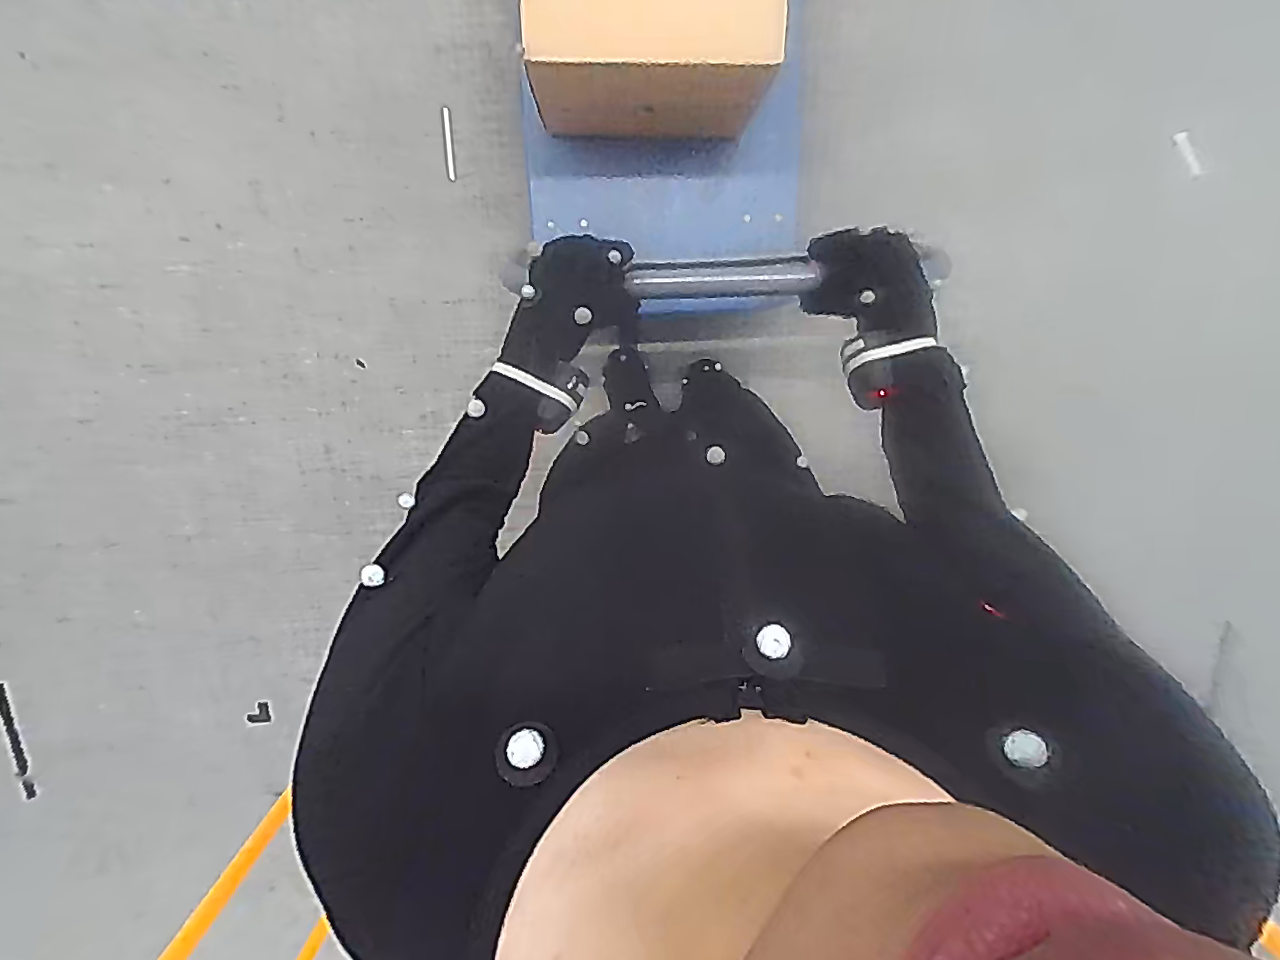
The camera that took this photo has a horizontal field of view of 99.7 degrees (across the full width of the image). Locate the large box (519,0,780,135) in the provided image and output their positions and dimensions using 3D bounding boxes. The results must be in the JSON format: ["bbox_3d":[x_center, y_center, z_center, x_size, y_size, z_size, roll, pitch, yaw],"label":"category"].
[{"bbox_3d":[0.011,-0.829,0.947,0.408,0.320,0.320,-1,104,-1],"label":"large box"}]
